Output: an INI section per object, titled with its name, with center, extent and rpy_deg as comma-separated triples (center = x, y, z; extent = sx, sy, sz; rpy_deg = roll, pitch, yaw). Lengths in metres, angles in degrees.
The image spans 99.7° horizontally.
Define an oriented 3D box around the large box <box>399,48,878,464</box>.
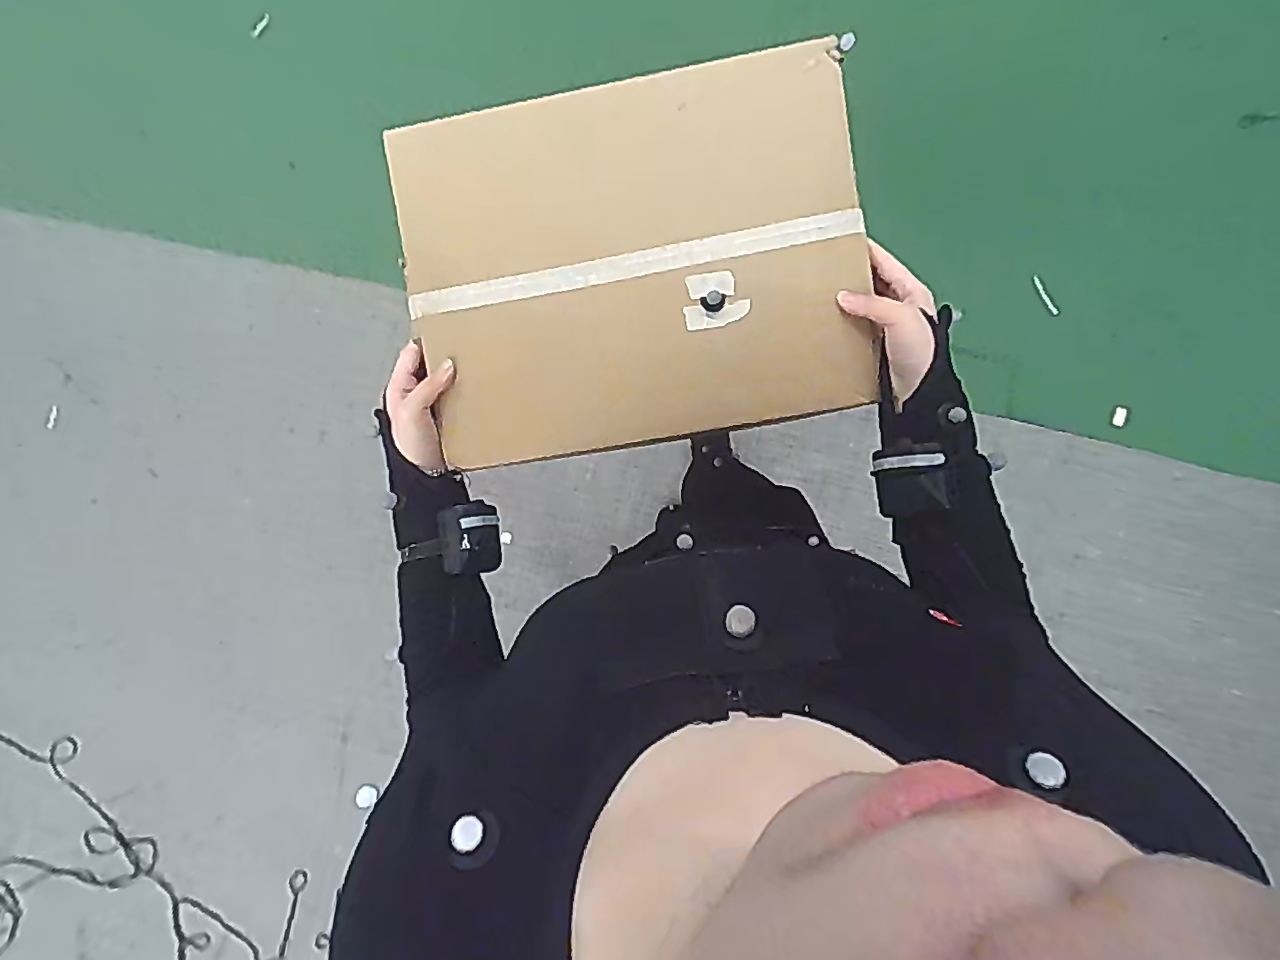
[large box]
center = 0.002, -0.205, 0.640
extent = 0.408, 0.320, 0.320
rpy_deg = -9, 93, 3
